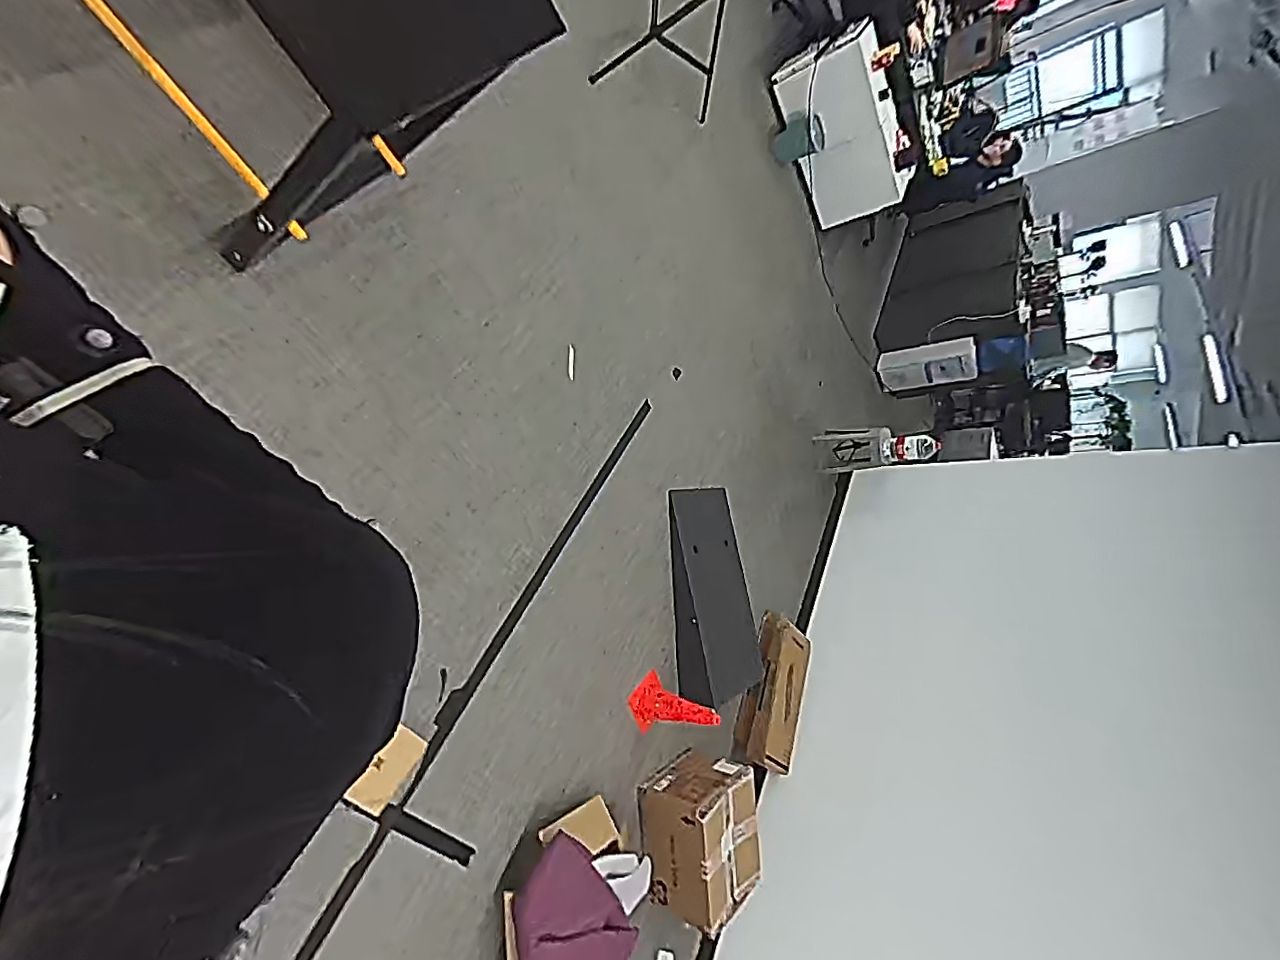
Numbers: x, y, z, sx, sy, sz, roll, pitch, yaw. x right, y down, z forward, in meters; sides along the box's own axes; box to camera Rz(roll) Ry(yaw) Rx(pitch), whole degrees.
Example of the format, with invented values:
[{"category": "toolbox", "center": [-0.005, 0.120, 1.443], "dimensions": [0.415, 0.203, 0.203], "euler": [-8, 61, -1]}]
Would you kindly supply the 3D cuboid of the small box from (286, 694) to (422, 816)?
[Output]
[{"category": "small box", "center": [-0.637, 0.603, 1.207], "dimensions": [0.179, 0.176, 0.168], "euler": [58, 48, -30]}]
